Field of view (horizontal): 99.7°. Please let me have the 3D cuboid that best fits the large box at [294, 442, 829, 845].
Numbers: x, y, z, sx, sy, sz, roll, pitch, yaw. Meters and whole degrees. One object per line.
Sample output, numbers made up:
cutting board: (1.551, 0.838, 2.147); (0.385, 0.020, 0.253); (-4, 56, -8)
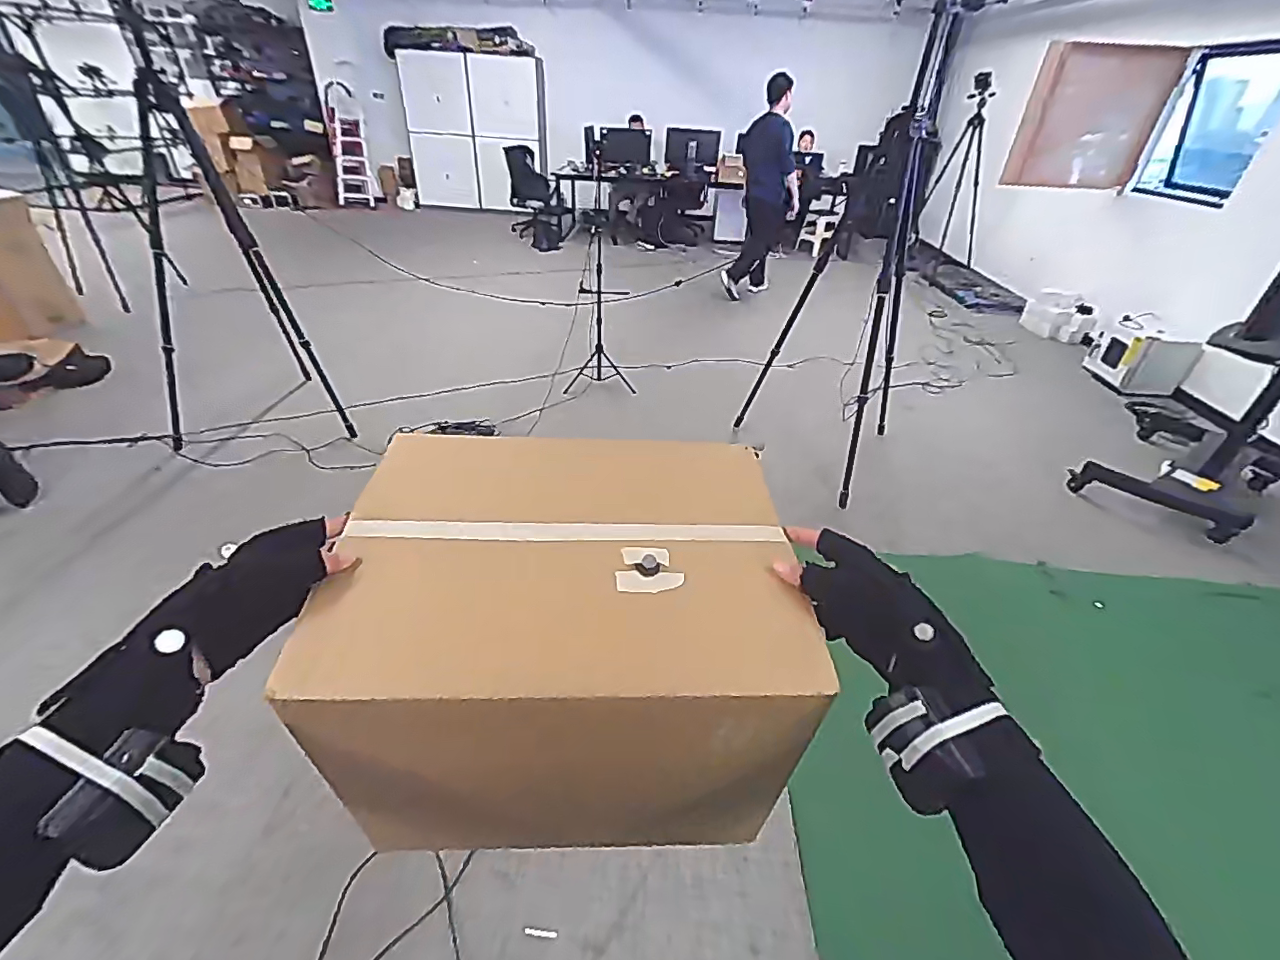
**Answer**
large box: (-0.071, 0.174, 0.604); (0.408, 0.320, 0.320); (2, 39, -5)
